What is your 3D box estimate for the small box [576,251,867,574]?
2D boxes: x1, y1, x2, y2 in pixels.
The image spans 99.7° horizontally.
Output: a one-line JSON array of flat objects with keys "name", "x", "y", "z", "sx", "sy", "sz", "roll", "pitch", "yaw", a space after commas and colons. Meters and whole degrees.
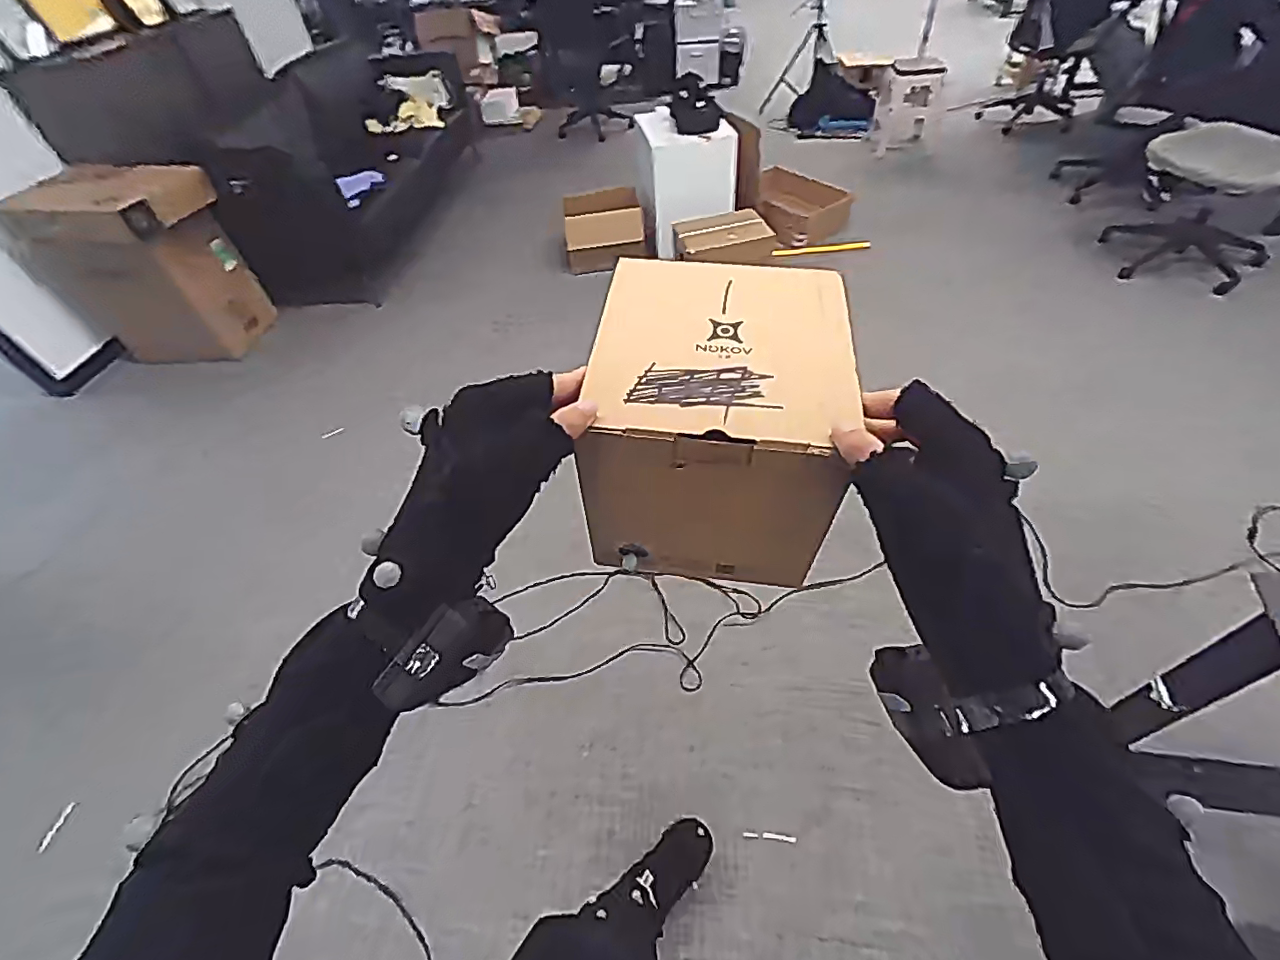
[{"name": "small box", "x": 0.059, "y": -0.046, "z": 0.411, "sx": 0.168, "sy": 0.176, "sz": 0.179, "roll": 6, "pitch": 53, "yaw": 6}]
